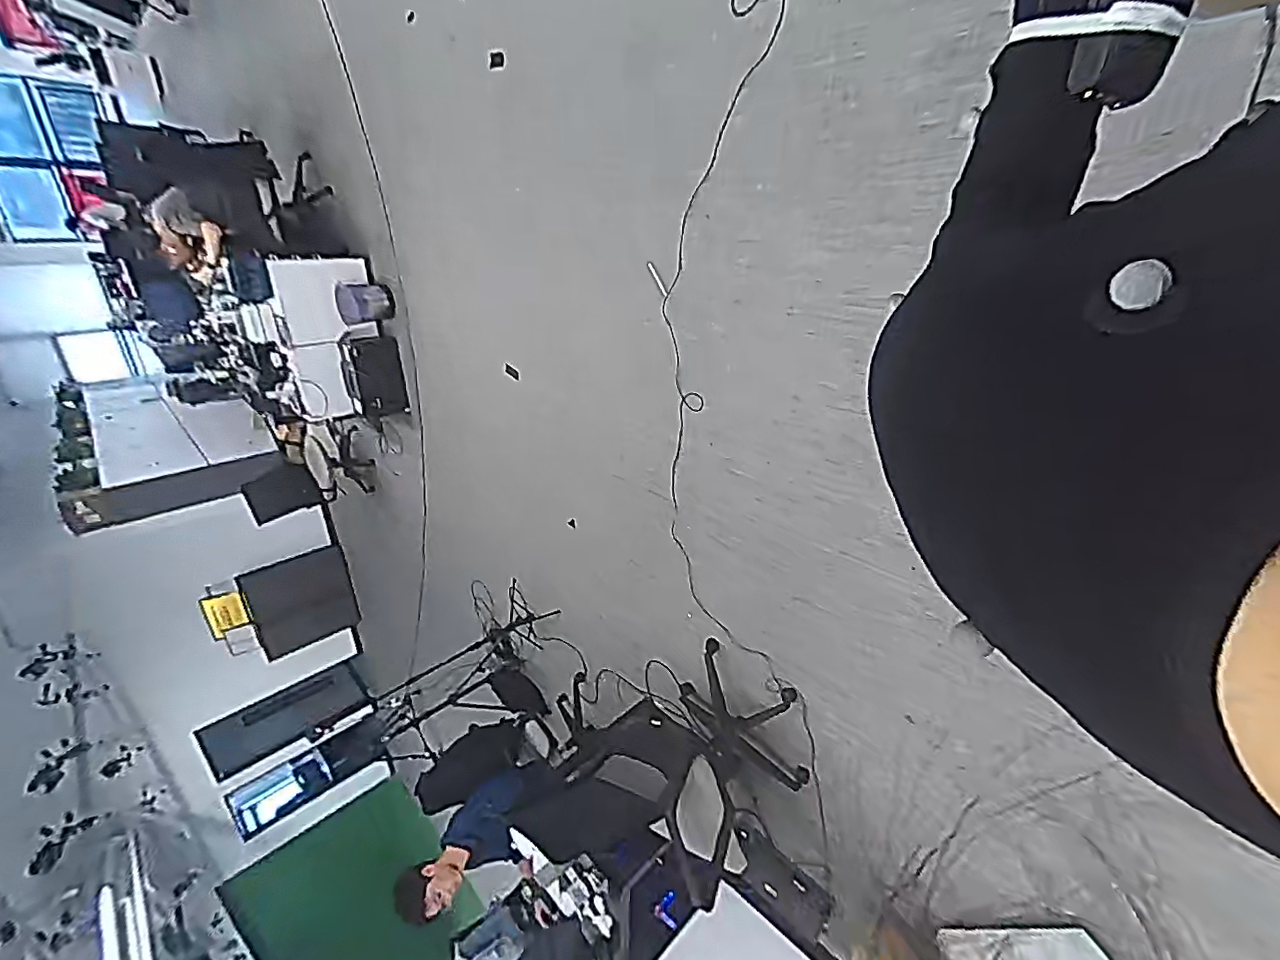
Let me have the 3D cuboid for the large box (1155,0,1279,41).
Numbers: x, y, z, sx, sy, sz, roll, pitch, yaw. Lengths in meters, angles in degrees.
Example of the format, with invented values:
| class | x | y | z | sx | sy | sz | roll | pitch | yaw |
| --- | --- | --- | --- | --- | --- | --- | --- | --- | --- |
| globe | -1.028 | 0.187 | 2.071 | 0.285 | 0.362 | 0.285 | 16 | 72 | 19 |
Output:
| class | x | y | z | sx | sy | sz | roll | pitch | yaw |
| --- | --- | --- | --- | --- | --- | --- | --- | --- | --- |
| large box | 0.538 | -0.440 | 0.231 | 0.408 | 0.320 | 0.320 | 20 | 129 | 38 |
